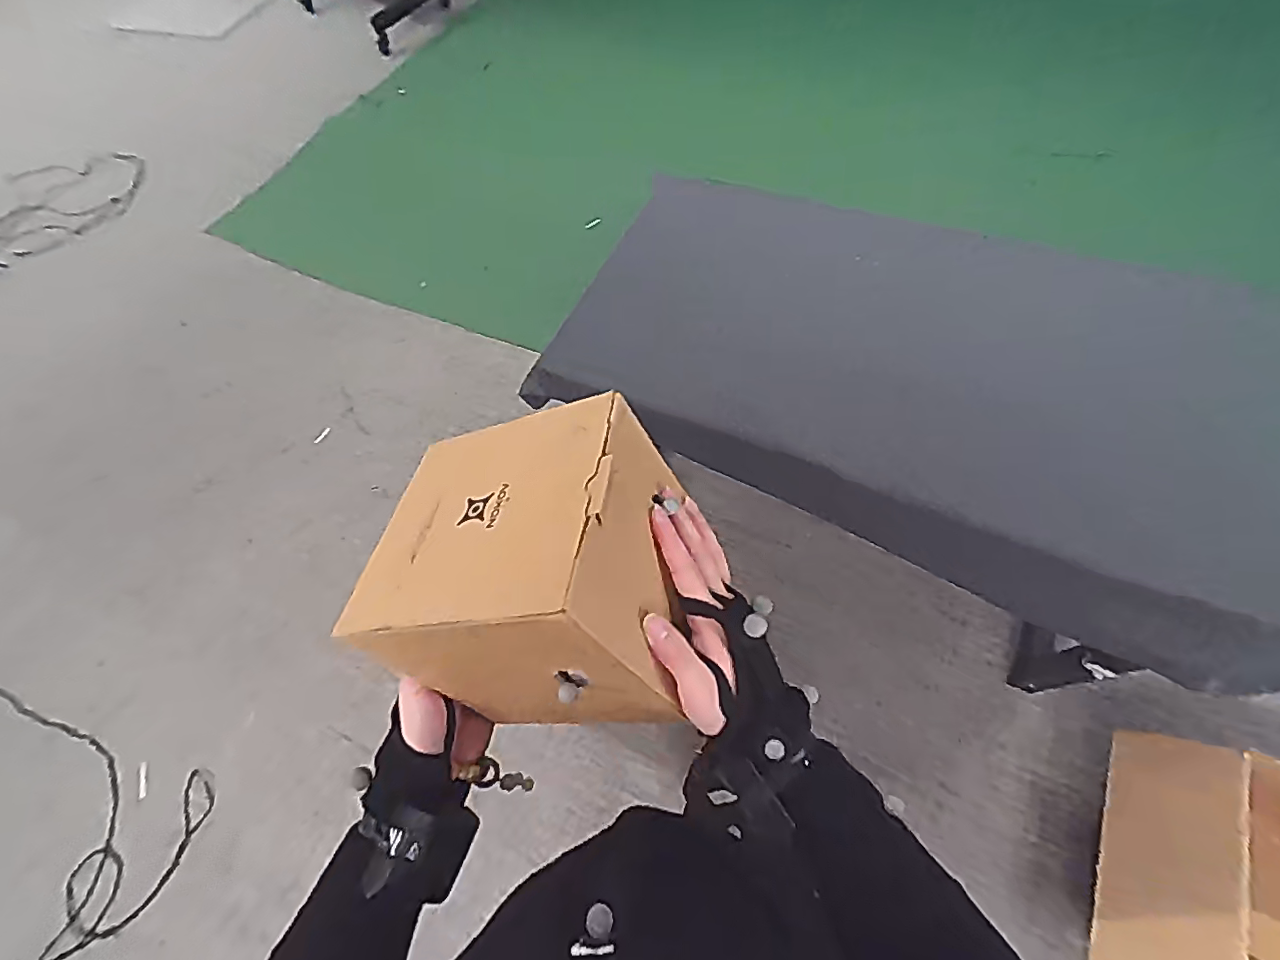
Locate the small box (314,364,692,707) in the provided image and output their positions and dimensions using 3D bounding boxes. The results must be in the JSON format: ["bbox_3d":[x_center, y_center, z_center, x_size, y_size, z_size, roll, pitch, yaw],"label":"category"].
[{"bbox_3d":[-0.073,0.052,0.389,0.179,0.176,0.168,-13,45,24],"label":"small box"}]
